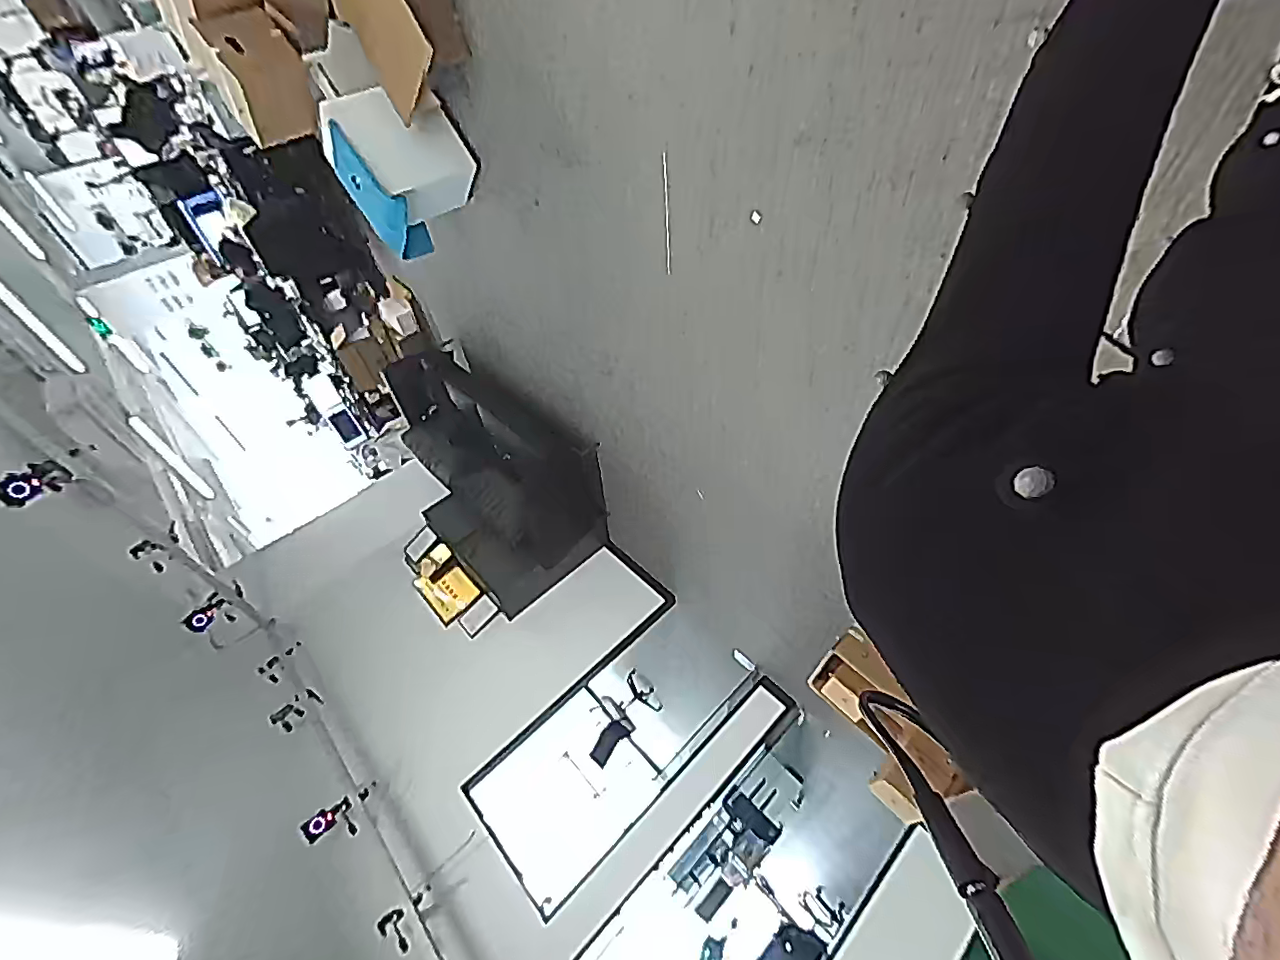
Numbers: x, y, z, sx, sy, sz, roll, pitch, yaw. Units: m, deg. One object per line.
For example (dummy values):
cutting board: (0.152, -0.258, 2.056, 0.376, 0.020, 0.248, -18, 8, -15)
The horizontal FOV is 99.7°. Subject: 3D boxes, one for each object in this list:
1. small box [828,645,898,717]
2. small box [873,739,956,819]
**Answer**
small box: (0.866, 0.777, 2.094, 0.168, 0.176, 0.179, 40, 151, 27)
small box: (0.955, 1.038, 1.878, 0.168, 0.176, 0.179, 40, 152, 25)
